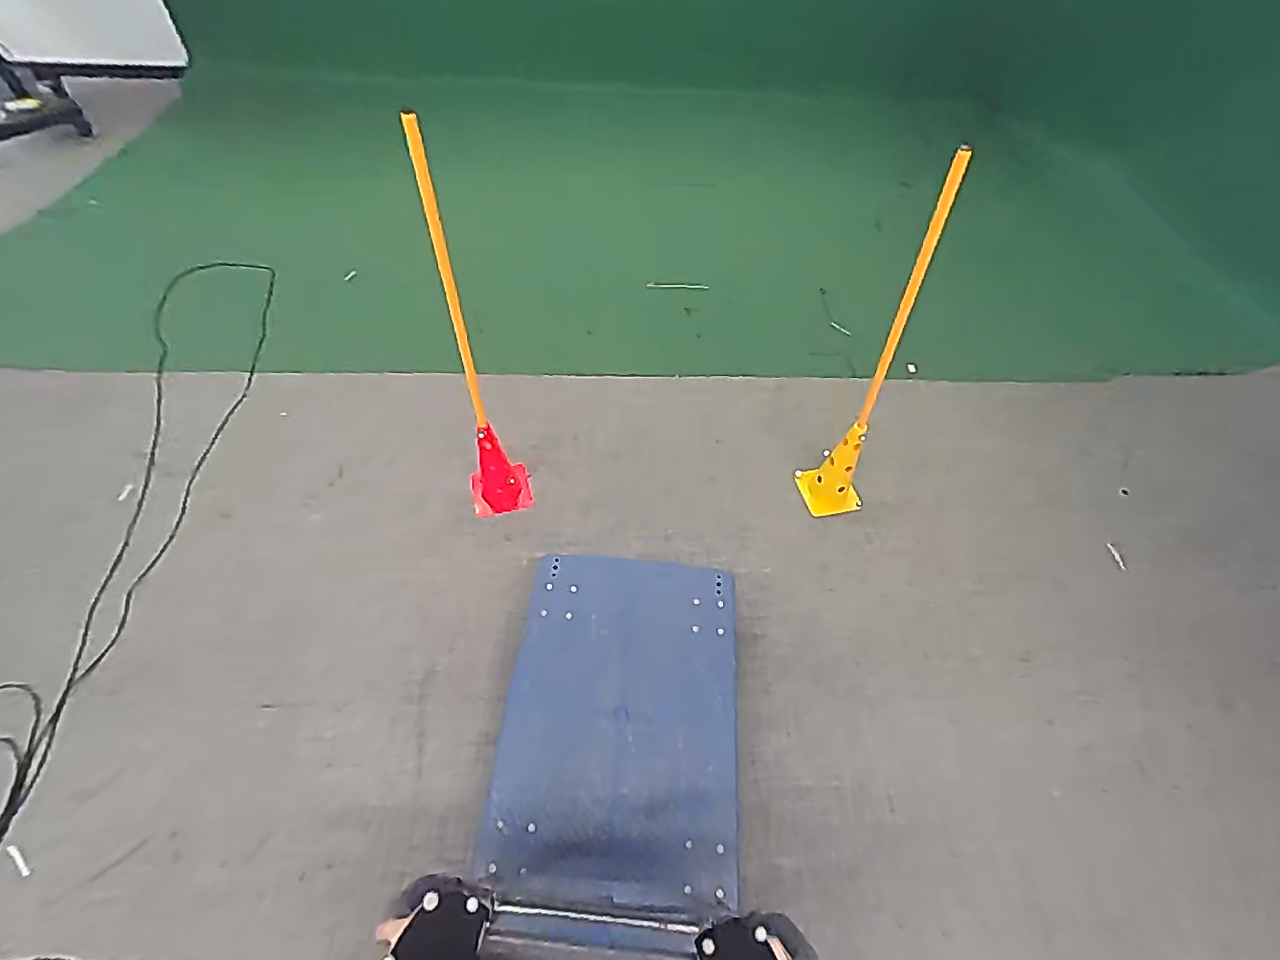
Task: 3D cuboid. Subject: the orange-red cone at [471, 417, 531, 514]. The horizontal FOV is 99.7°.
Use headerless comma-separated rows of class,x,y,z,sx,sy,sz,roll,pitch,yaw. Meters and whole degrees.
orange-red cone,-0.492,-0.074,1.789,0.199,0.360,0.198,-12,55,-10
